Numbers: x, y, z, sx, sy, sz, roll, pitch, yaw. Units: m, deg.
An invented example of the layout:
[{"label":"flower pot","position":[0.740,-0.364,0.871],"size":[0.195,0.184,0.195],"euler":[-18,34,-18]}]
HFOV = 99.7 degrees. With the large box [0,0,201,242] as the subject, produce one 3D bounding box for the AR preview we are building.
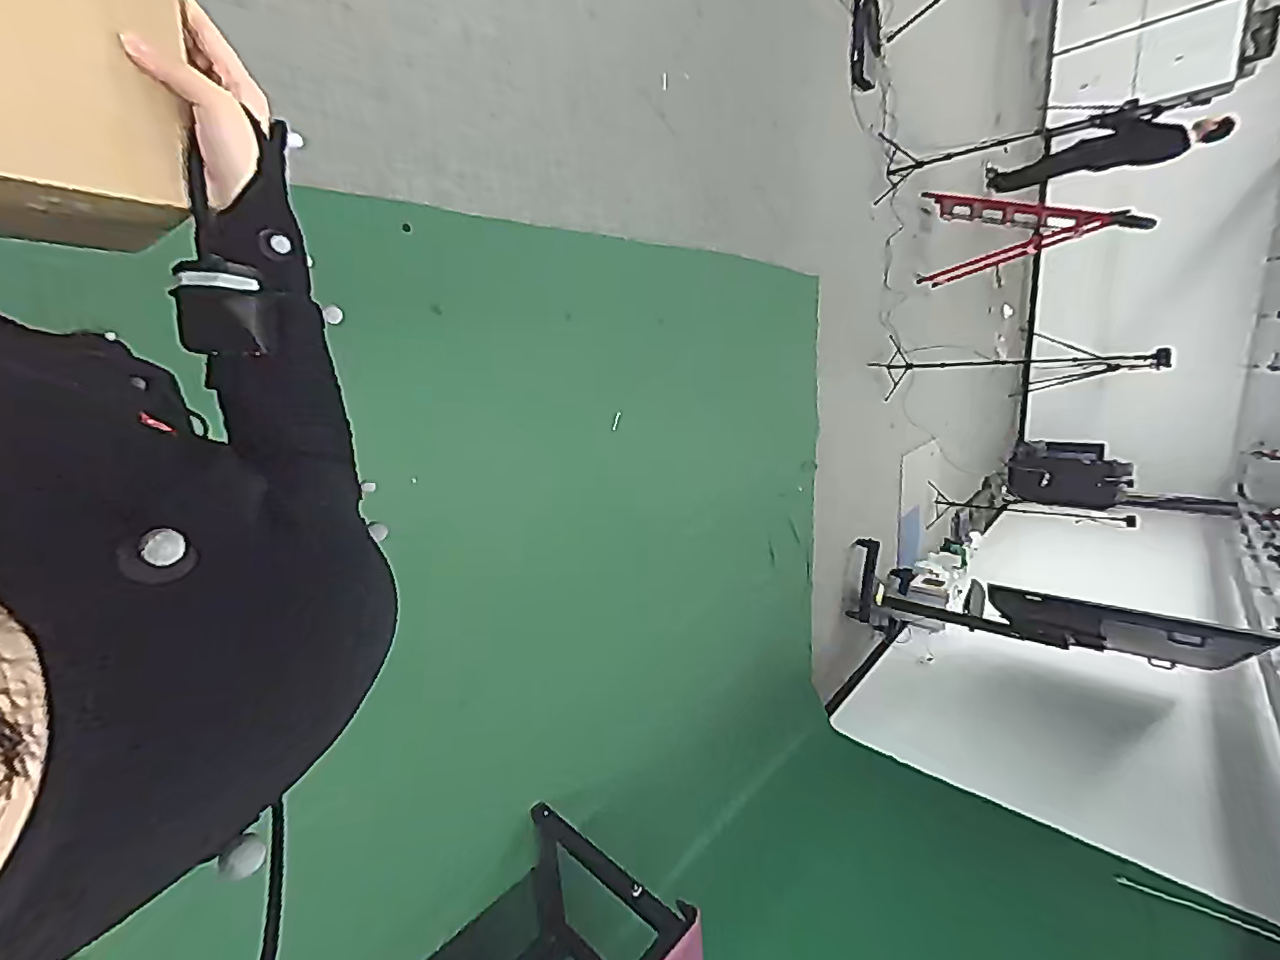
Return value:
[{"label":"large box","position":[-0.561,-0.346,0.309],"size":[0.408,0.320,0.320],"euler":[-13,110,-48]}]
